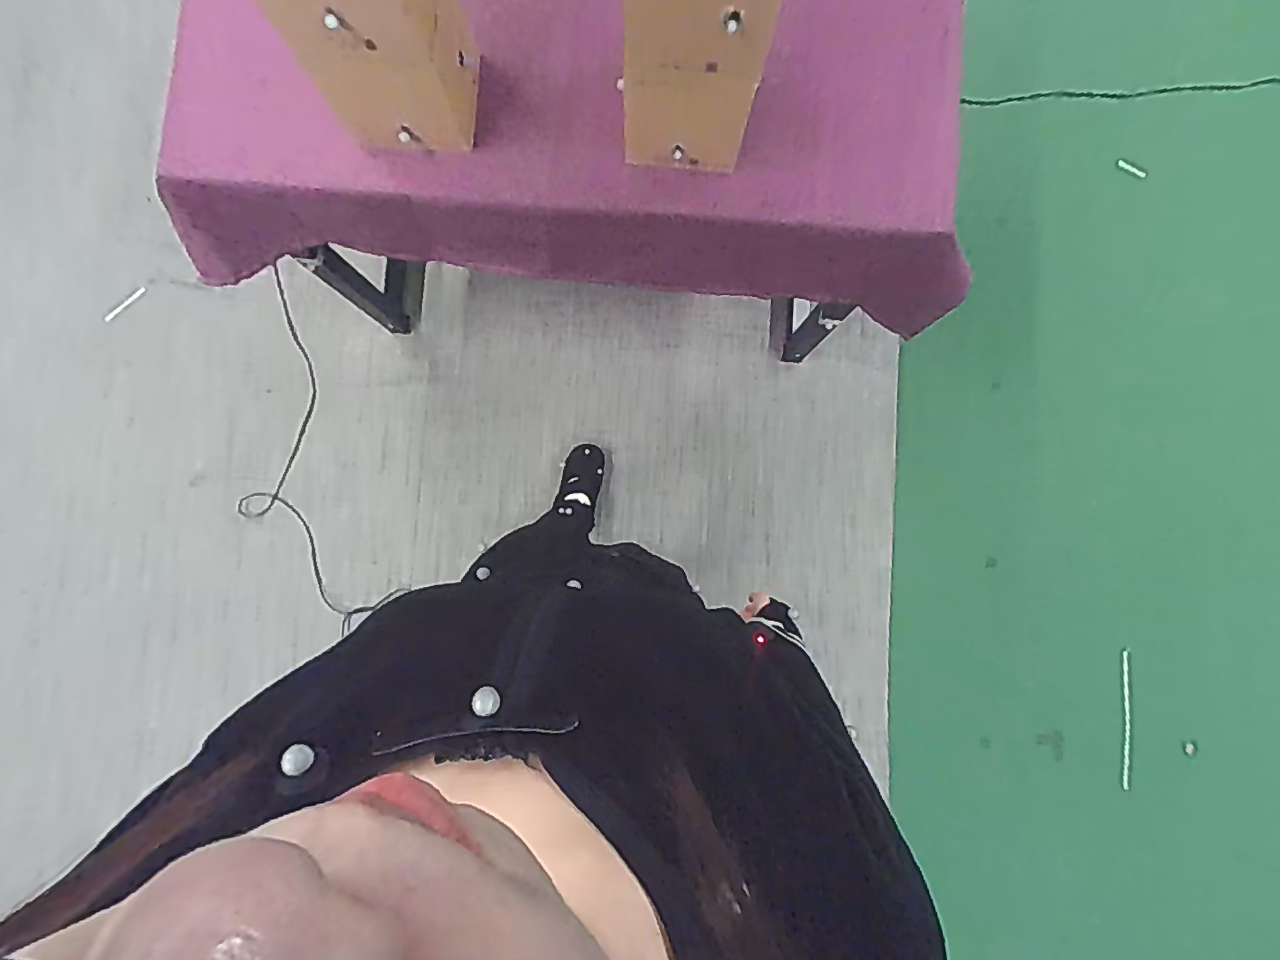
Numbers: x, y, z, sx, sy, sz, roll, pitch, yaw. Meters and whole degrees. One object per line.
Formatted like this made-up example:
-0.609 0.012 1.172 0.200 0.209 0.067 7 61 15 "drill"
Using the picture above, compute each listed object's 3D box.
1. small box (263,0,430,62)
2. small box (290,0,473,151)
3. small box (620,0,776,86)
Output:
-0.334 -0.604 0.580 0.168 0.176 0.179 4 86 0 "small box"
-0.338 -0.587 0.744 0.179 0.176 0.168 3 85 -2 "small box"
0.066 -0.574 0.587 0.168 0.176 0.179 4 86 -1 "small box"
